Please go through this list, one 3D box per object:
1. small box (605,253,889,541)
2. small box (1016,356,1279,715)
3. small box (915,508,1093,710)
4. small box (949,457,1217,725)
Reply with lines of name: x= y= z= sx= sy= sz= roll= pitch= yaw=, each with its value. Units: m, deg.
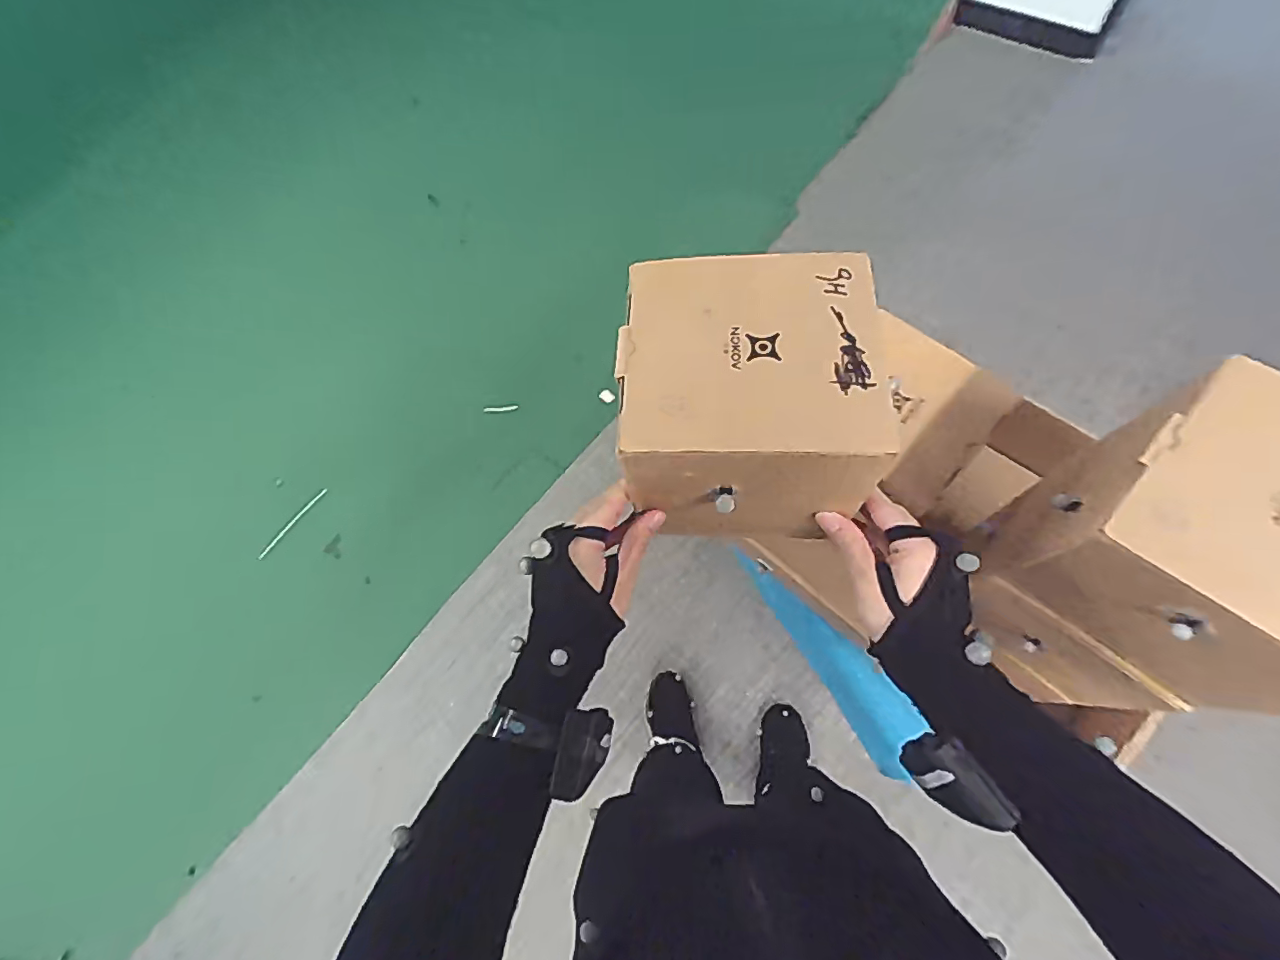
small box: x=0.078 y=-0.053 z=0.436 sx=0.179 sy=0.176 sz=0.168 roll=-1 pitch=65 yaw=8
small box: x=0.427 y=0.052 z=0.392 sx=0.179 sy=0.176 sz=0.168 roll=40 pitch=83 yaw=22
small box: x=0.488 y=0.169 z=0.691 sx=0.179 sy=0.176 sz=0.168 roll=41 pitch=83 yaw=23
small box: x=0.456 y=0.112 z=0.541 sx=0.179 sy=0.176 sz=0.168 roll=40 pitch=82 yaw=24
